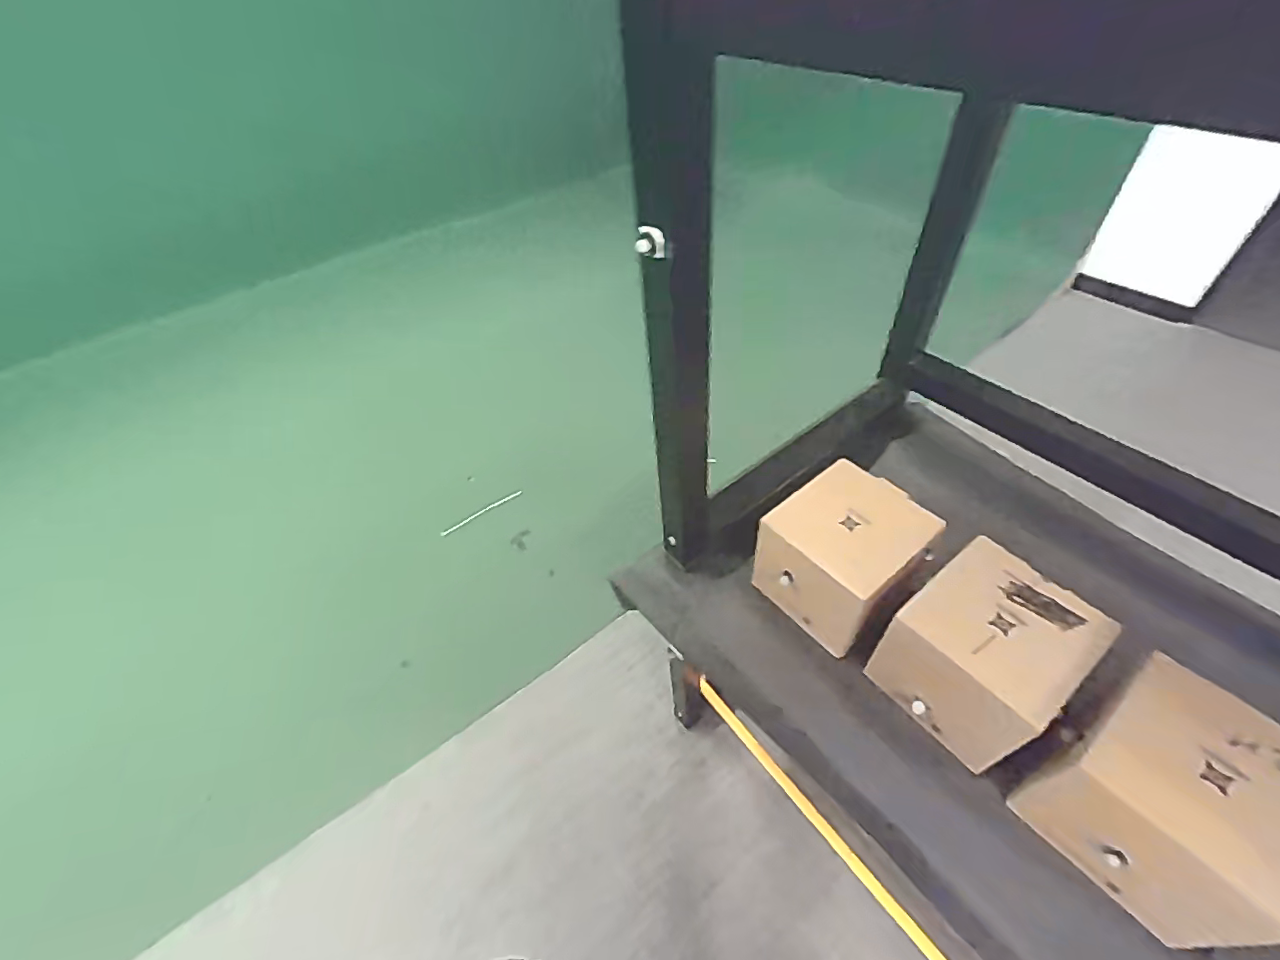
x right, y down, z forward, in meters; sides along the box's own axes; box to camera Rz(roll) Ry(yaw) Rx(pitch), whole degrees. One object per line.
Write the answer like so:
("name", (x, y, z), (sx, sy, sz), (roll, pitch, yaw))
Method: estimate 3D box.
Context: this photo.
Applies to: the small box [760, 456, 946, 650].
("small box", (0.285, 0.105, 0.765), (0.179, 0.176, 0.168), (-32, 53, -22))
